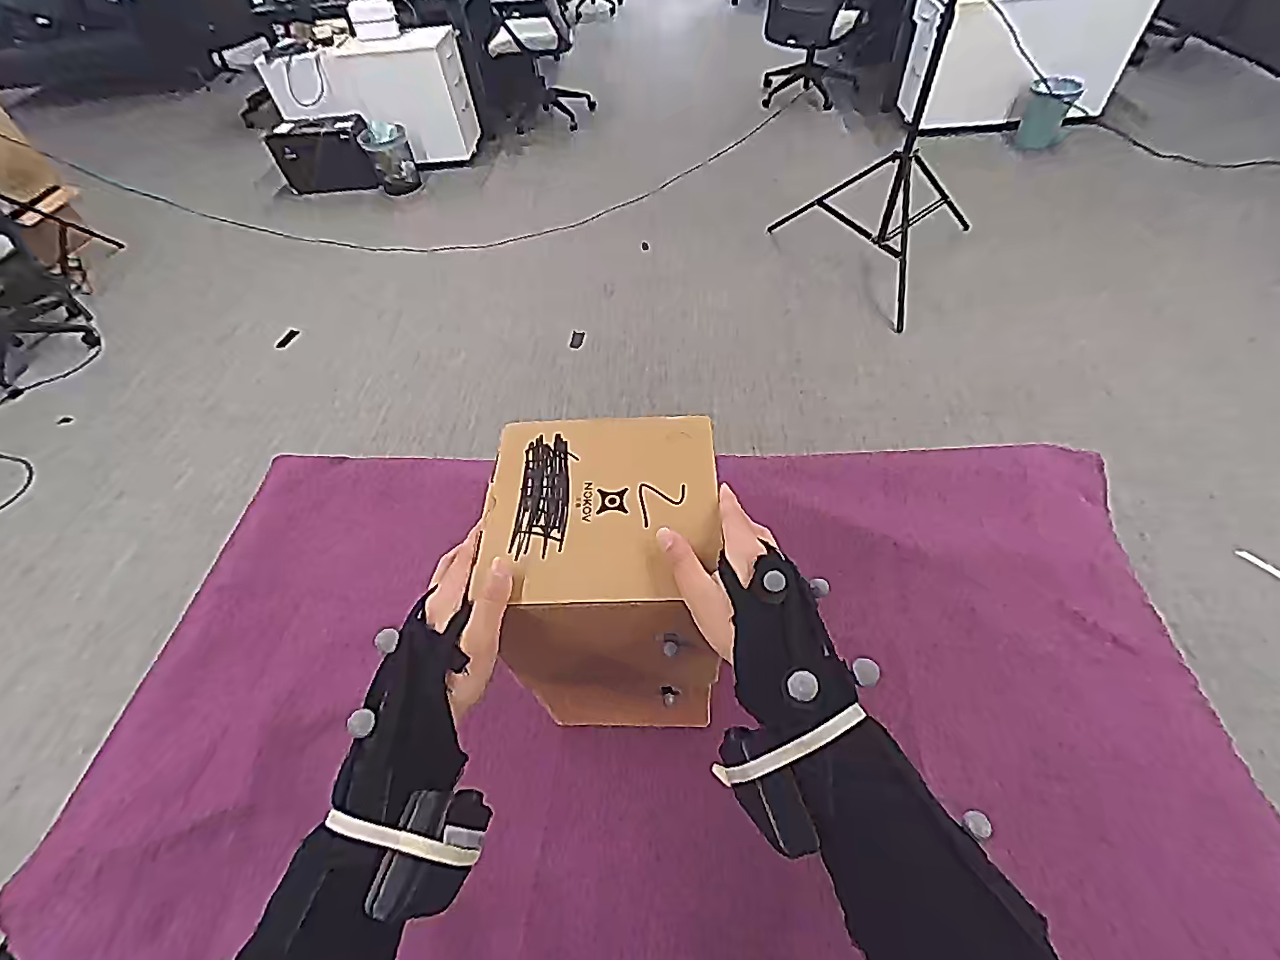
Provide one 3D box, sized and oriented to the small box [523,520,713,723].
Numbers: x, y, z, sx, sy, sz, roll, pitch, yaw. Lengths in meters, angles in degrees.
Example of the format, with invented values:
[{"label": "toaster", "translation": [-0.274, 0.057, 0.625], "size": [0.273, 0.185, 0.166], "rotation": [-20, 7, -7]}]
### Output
[{"label": "small box", "translation": [-0.012, 0.159, 0.594], "size": [0.179, 0.176, 0.168], "rotation": [-1, 52, 4]}]
